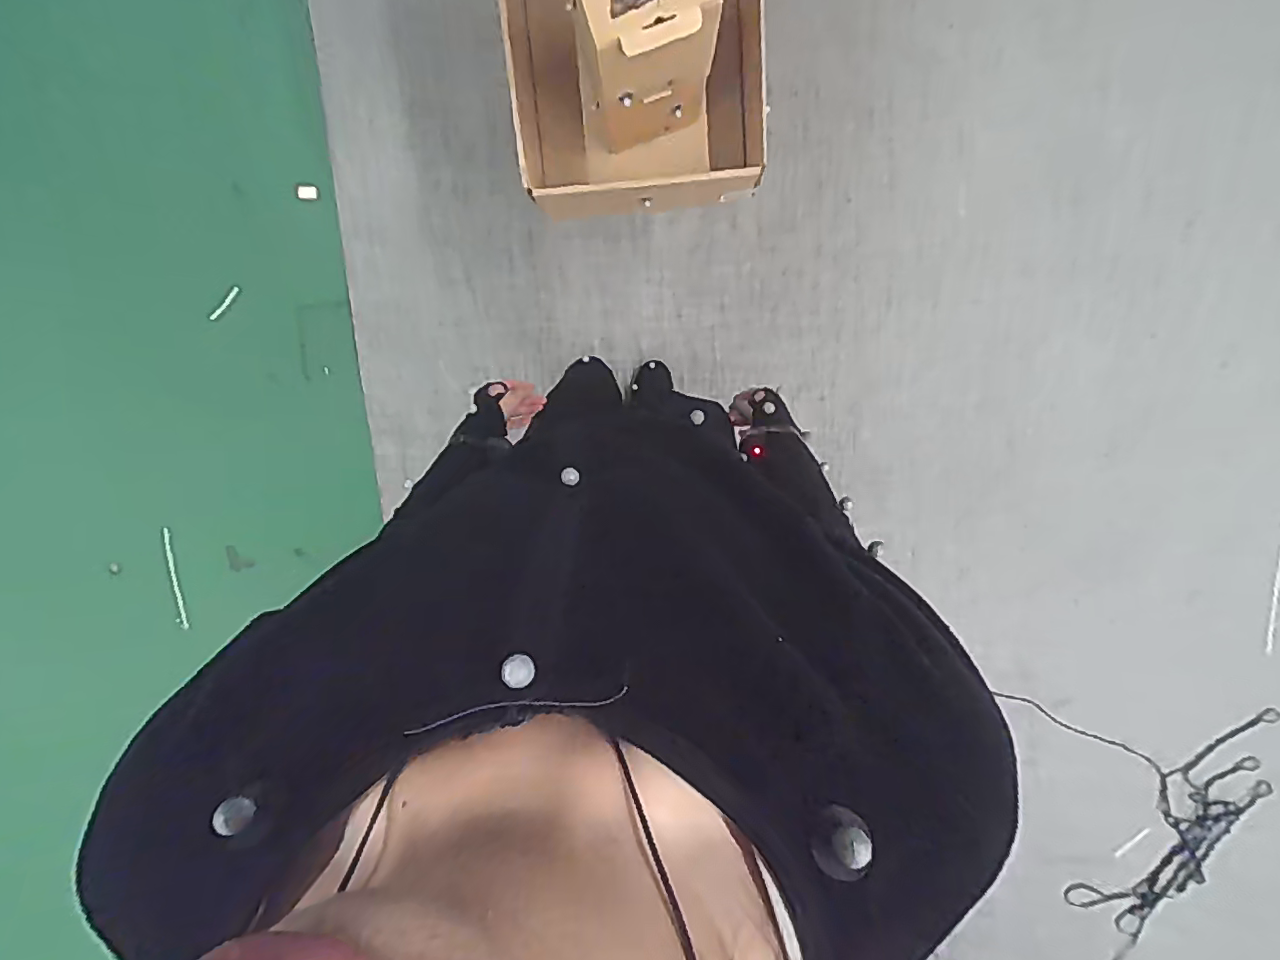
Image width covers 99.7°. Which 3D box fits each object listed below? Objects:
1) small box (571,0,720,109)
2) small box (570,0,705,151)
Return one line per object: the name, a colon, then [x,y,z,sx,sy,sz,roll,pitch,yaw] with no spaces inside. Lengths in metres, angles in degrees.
small box: [-0.001,-0.637,0.723,0.168,0.176,0.179,-17,99,3]
small box: [0.000,-0.670,0.884,0.168,0.176,0.179,-17,99,4]
